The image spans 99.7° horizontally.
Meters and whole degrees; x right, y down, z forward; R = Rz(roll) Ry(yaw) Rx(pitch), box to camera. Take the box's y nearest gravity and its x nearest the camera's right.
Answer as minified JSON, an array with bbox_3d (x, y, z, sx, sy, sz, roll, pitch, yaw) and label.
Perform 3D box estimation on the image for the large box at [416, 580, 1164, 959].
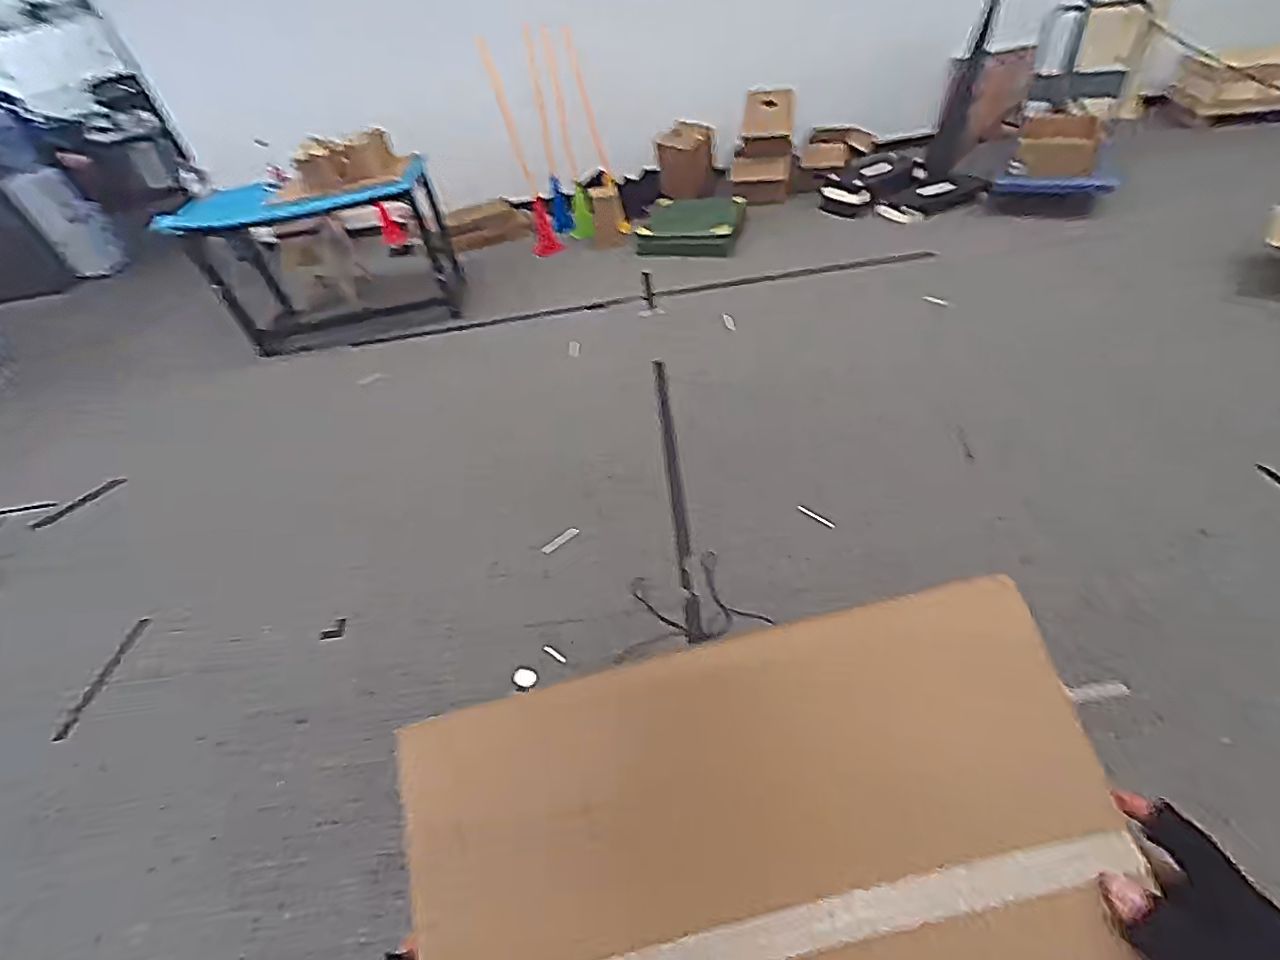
[{"bbox_3d":[0.090,0.302,0.452,0.408,0.320,0.320,-15,73,1],"label":"large box"}]
